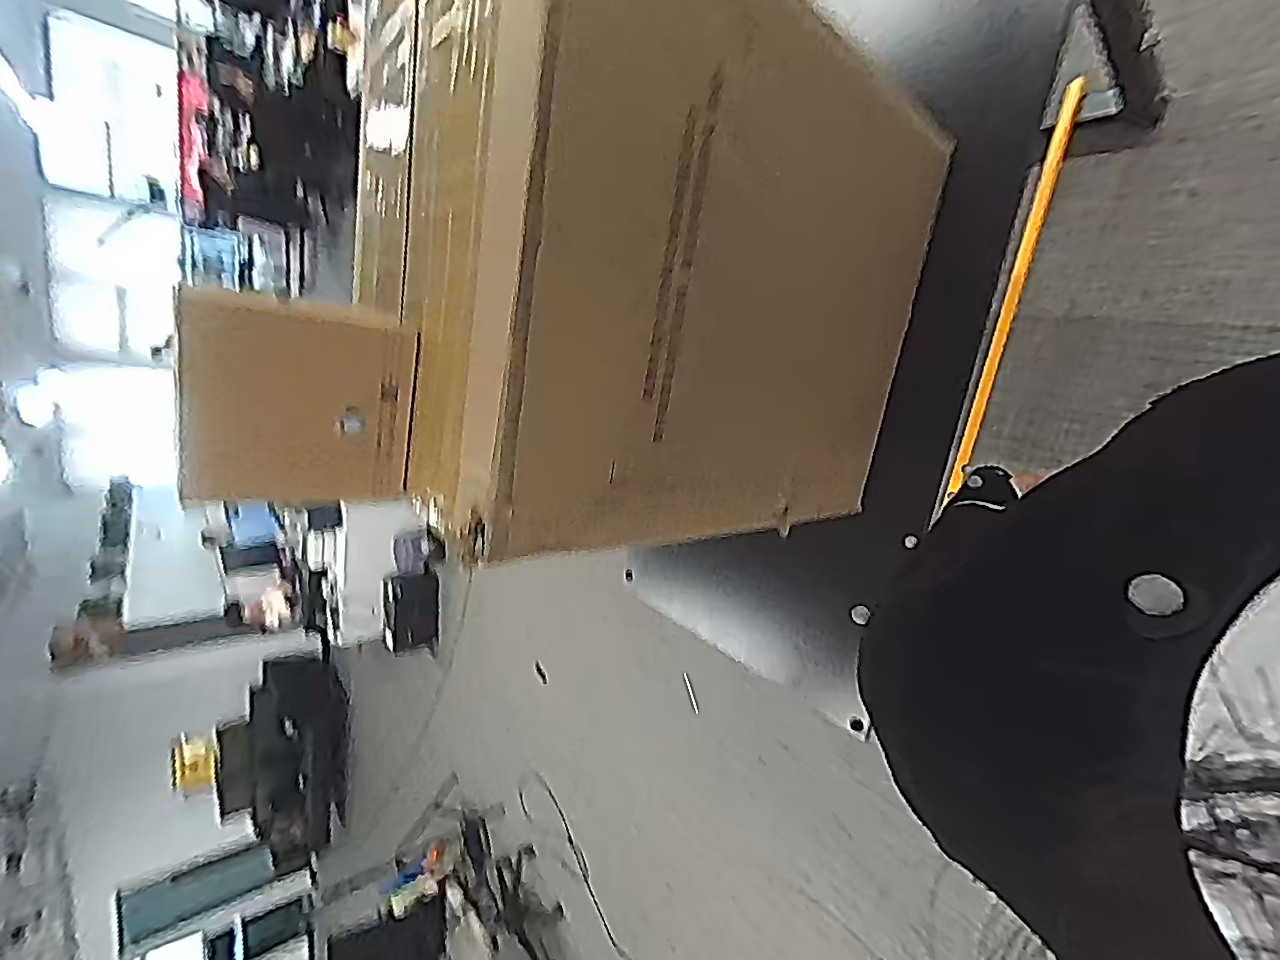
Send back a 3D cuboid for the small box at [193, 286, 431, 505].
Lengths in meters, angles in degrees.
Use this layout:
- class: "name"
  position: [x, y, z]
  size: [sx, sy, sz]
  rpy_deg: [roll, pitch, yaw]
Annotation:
- class: "small box"
  position: [-0.320, -0.081, 0.522]
  size: [0.179, 0.176, 0.168]
  rpy_deg: [26, 111, 46]
